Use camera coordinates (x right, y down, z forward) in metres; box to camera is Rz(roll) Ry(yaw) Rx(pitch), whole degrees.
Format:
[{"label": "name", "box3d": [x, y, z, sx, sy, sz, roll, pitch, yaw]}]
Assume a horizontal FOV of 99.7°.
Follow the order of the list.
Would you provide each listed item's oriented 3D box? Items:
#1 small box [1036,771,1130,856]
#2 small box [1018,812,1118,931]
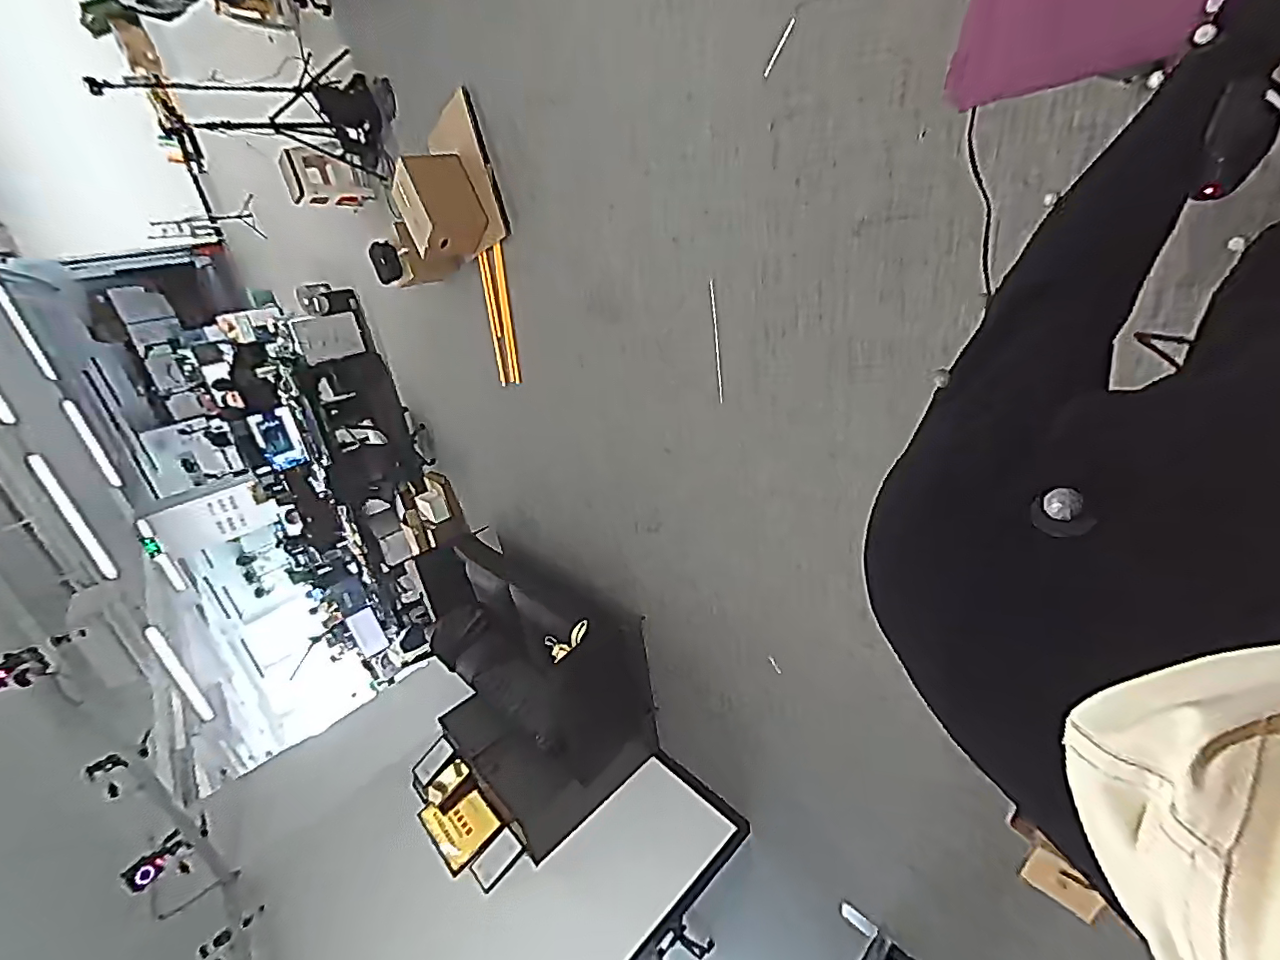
[{"label": "small box", "box3d": [1.305, 1.012, 1.594, 0.168, 0.176, 0.179, 22, 128, 41]}, {"label": "small box", "box3d": [1.188, 1.074, 1.498, 0.168, 0.176, 0.179, 24, 131, 40]}]
